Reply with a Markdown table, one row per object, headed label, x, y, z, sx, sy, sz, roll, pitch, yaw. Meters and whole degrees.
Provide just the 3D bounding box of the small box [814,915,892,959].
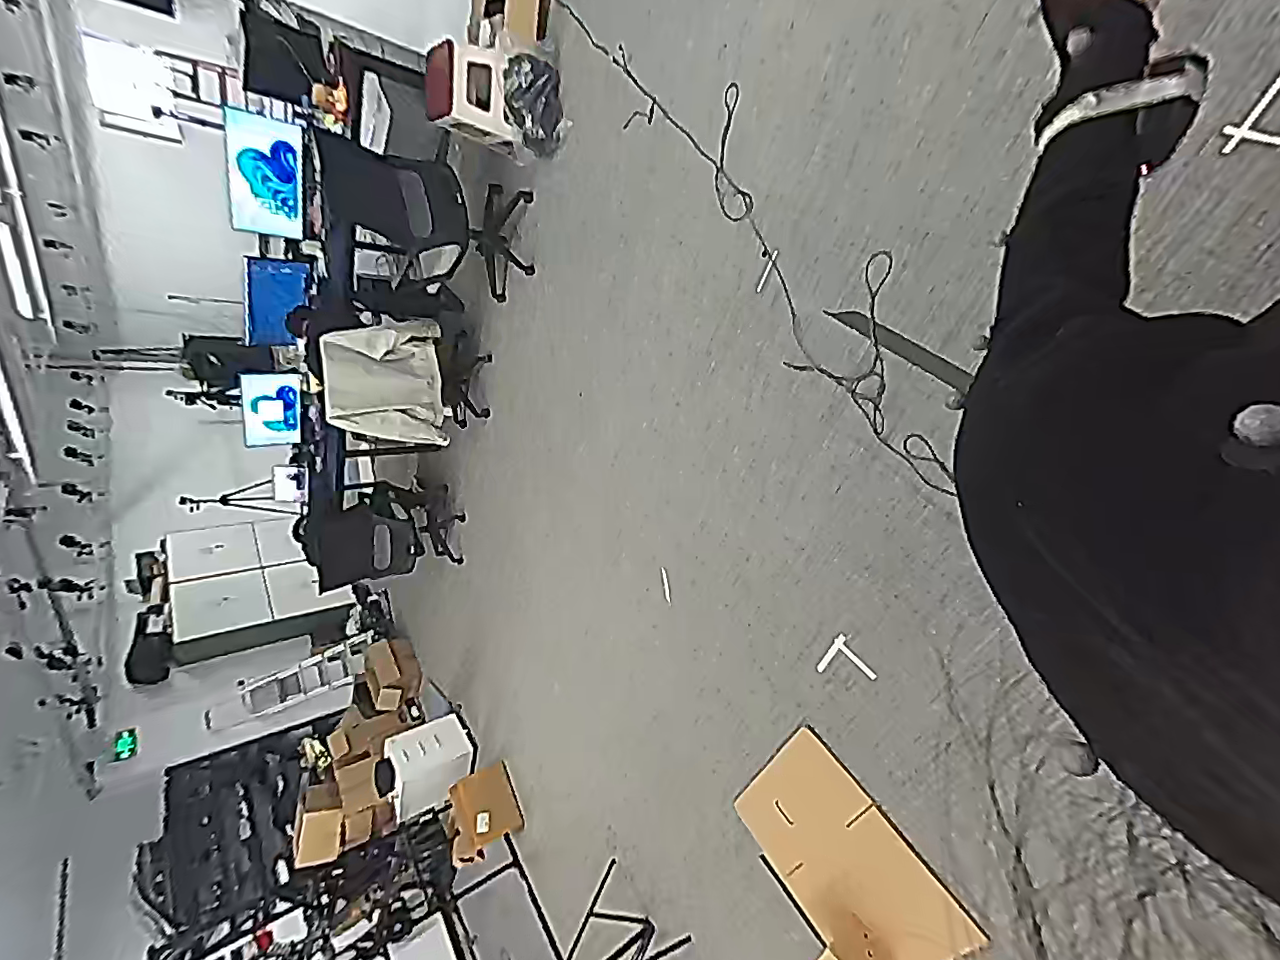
| label | x | y | z | sx | sy | sz | roll | pitch | yaw |
| --- | --- | --- | --- | --- | --- | --- | --- | --- | --- |
| small box | 0.671 | 1.557 | 1.725 | 0.168 | 0.176 | 0.179 | 37 | 123 | 39 |
